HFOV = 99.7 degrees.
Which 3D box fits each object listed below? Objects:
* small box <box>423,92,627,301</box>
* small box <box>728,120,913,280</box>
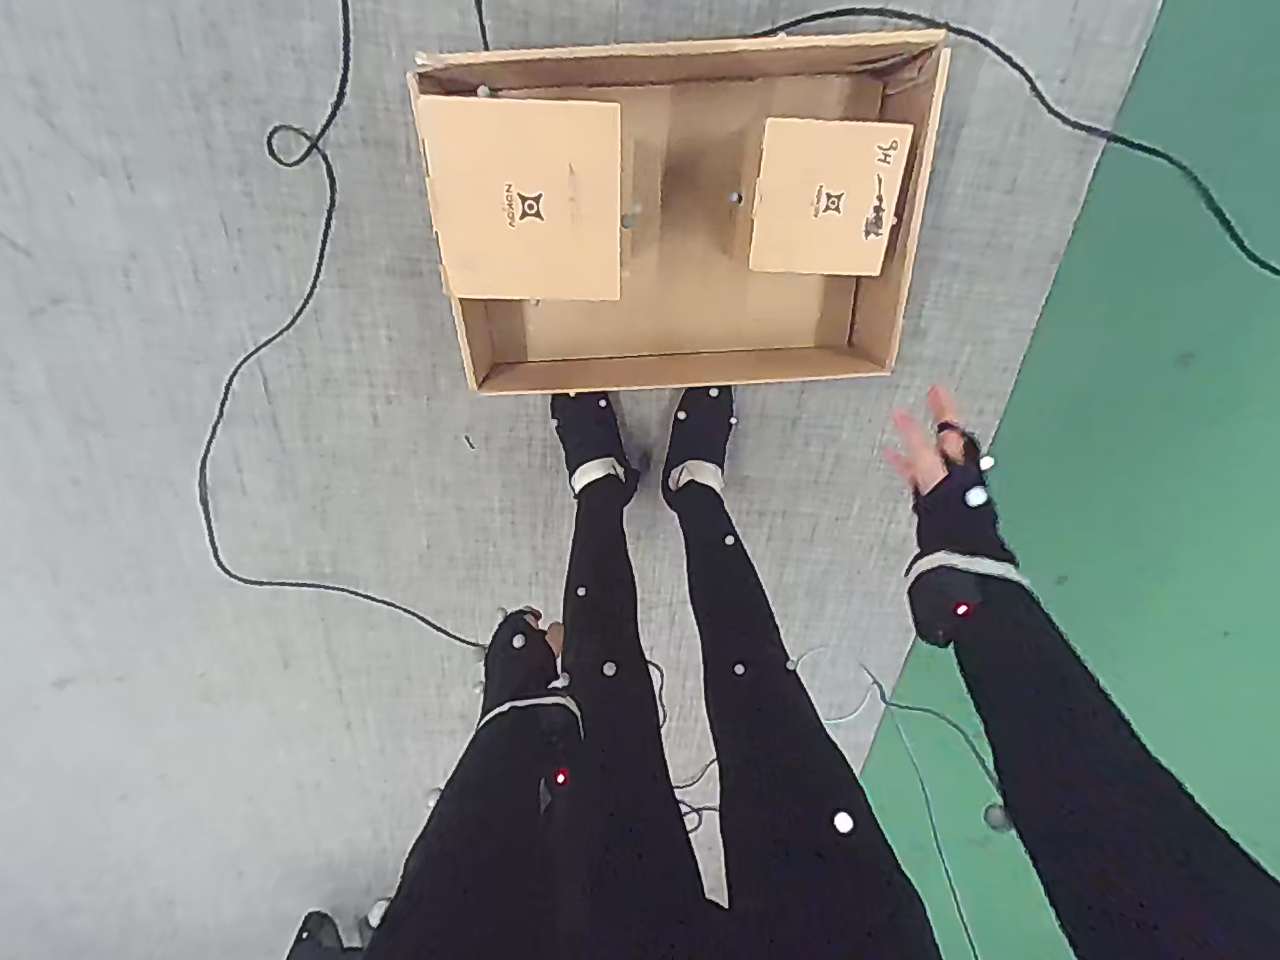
[{"bbox_3d":[-0.105,-0.290,0.567,0.179,0.176,0.168,0,118,-4],"label":"small box"},{"bbox_3d":[0.222,-0.368,0.724,0.179,0.176,0.168,2,117,-3],"label":"small box"}]
